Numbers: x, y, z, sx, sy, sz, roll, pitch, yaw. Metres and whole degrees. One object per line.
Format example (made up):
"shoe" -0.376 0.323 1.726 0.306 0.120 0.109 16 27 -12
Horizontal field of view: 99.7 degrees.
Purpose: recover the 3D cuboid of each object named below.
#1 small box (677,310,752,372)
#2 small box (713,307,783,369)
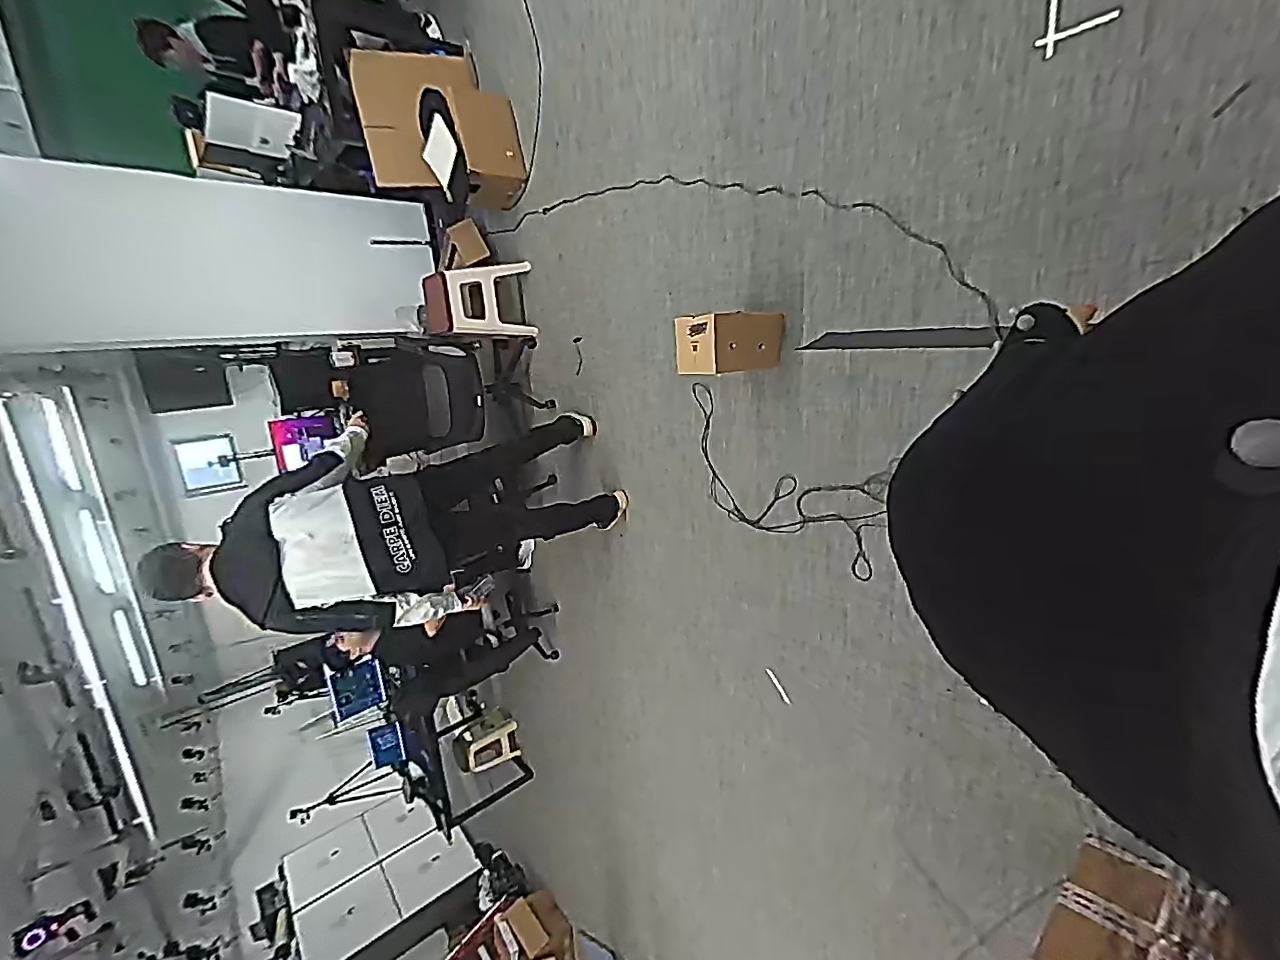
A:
"small box" 0.231 -0.430 1.670 0.168 0.176 0.179 14 113 49
"small box" 0.350 -0.471 1.778 0.168 0.176 0.179 23 120 46
